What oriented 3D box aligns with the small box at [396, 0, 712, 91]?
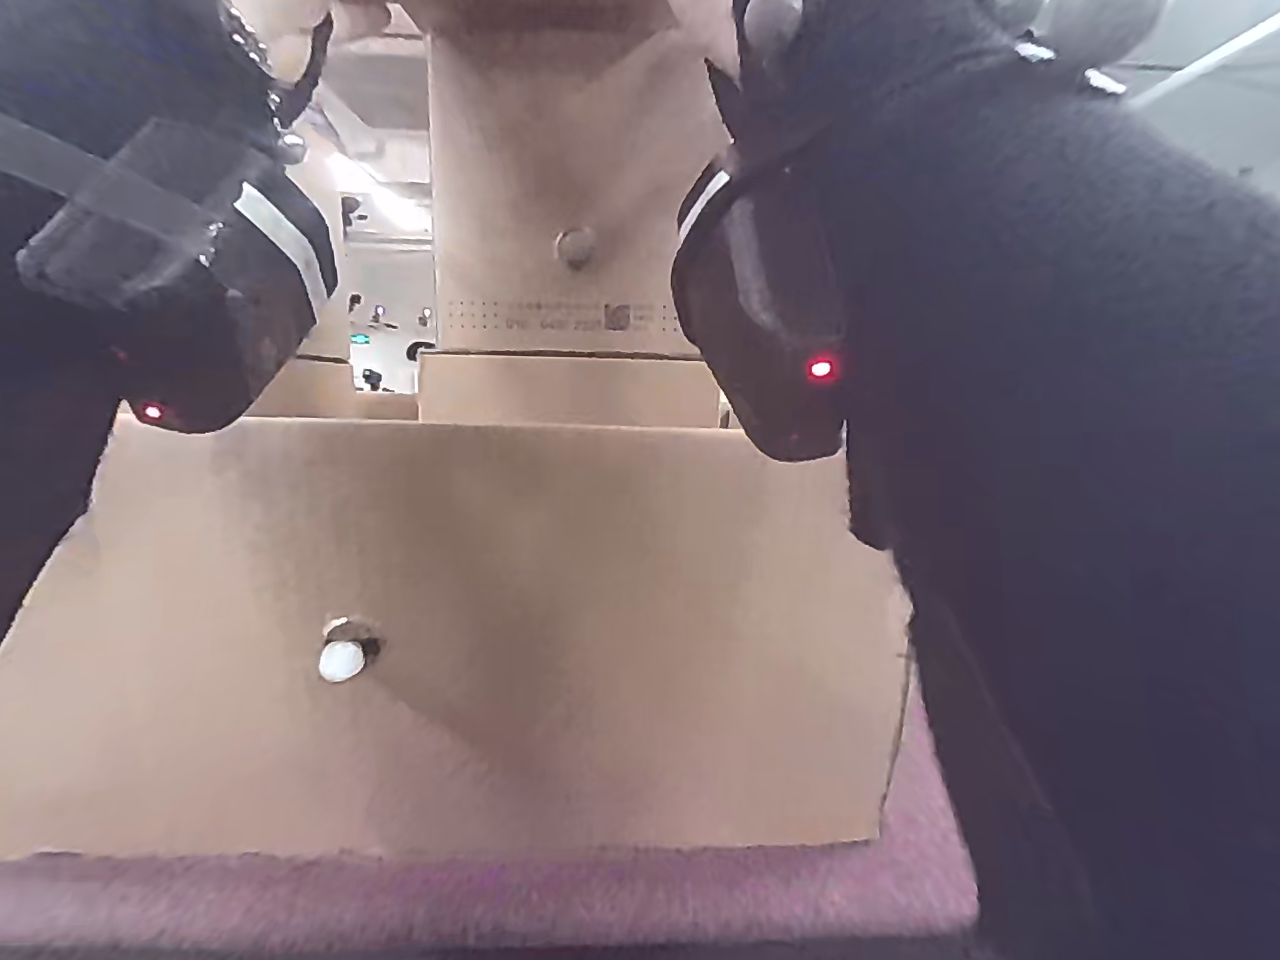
[{"bbox_3d":[-0.045,-0.328,0.276,0.168,0.176,0.179,1,14,4],"label":"small box"}]
